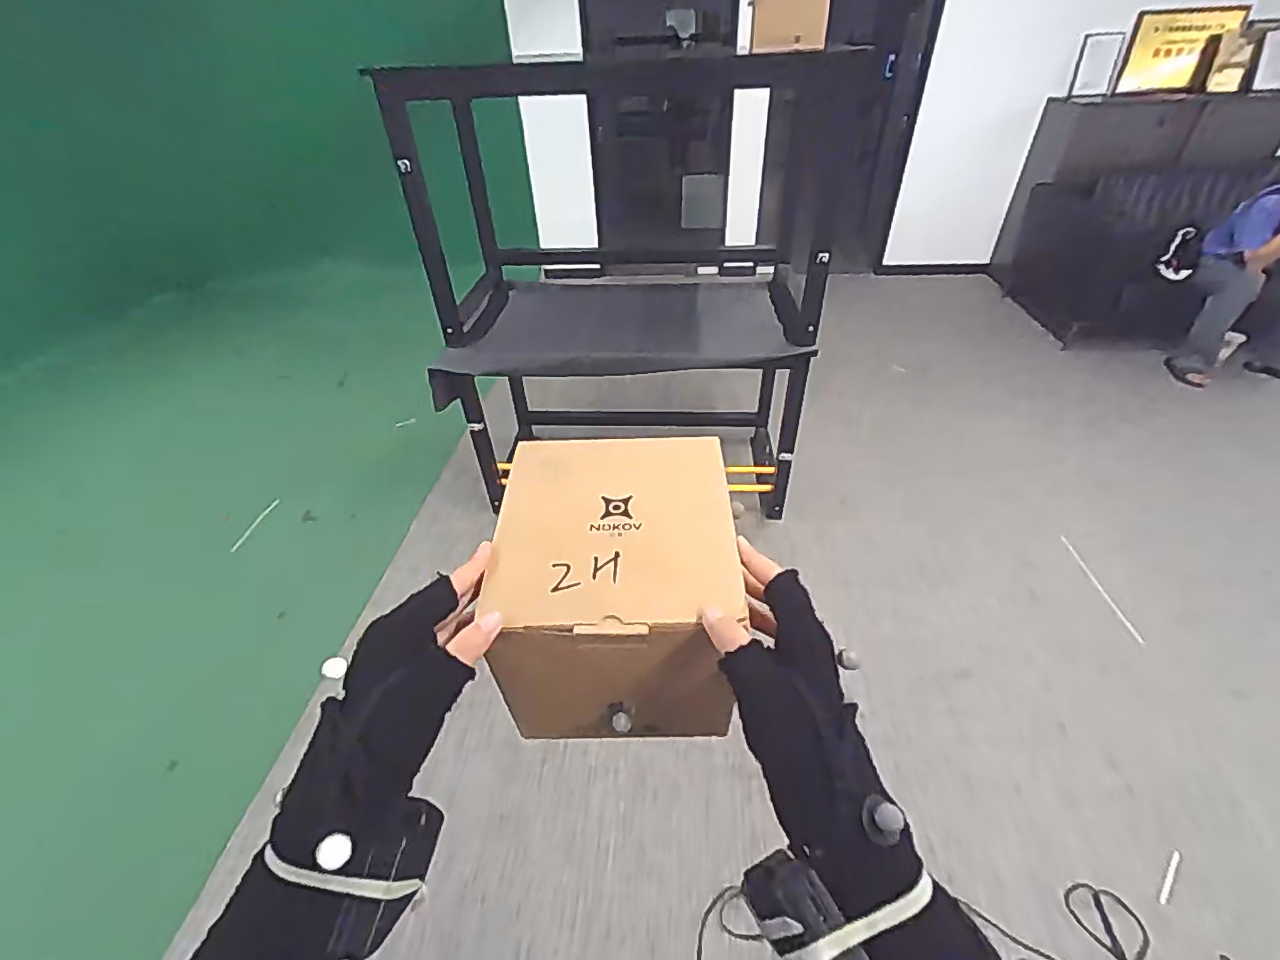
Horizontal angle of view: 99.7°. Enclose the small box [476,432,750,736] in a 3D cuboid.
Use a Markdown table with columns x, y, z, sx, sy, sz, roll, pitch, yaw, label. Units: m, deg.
| x | y | z | sx | sy | sz | roll | pitch | yaw | label |
| --- | --- | --- | --- | --- | --- | --- | --- | --- | --- |
| -0.013 | 0.080 | 0.430 | 0.168 | 0.176 | 0.179 | -2 | 43 | 2 | small box |
